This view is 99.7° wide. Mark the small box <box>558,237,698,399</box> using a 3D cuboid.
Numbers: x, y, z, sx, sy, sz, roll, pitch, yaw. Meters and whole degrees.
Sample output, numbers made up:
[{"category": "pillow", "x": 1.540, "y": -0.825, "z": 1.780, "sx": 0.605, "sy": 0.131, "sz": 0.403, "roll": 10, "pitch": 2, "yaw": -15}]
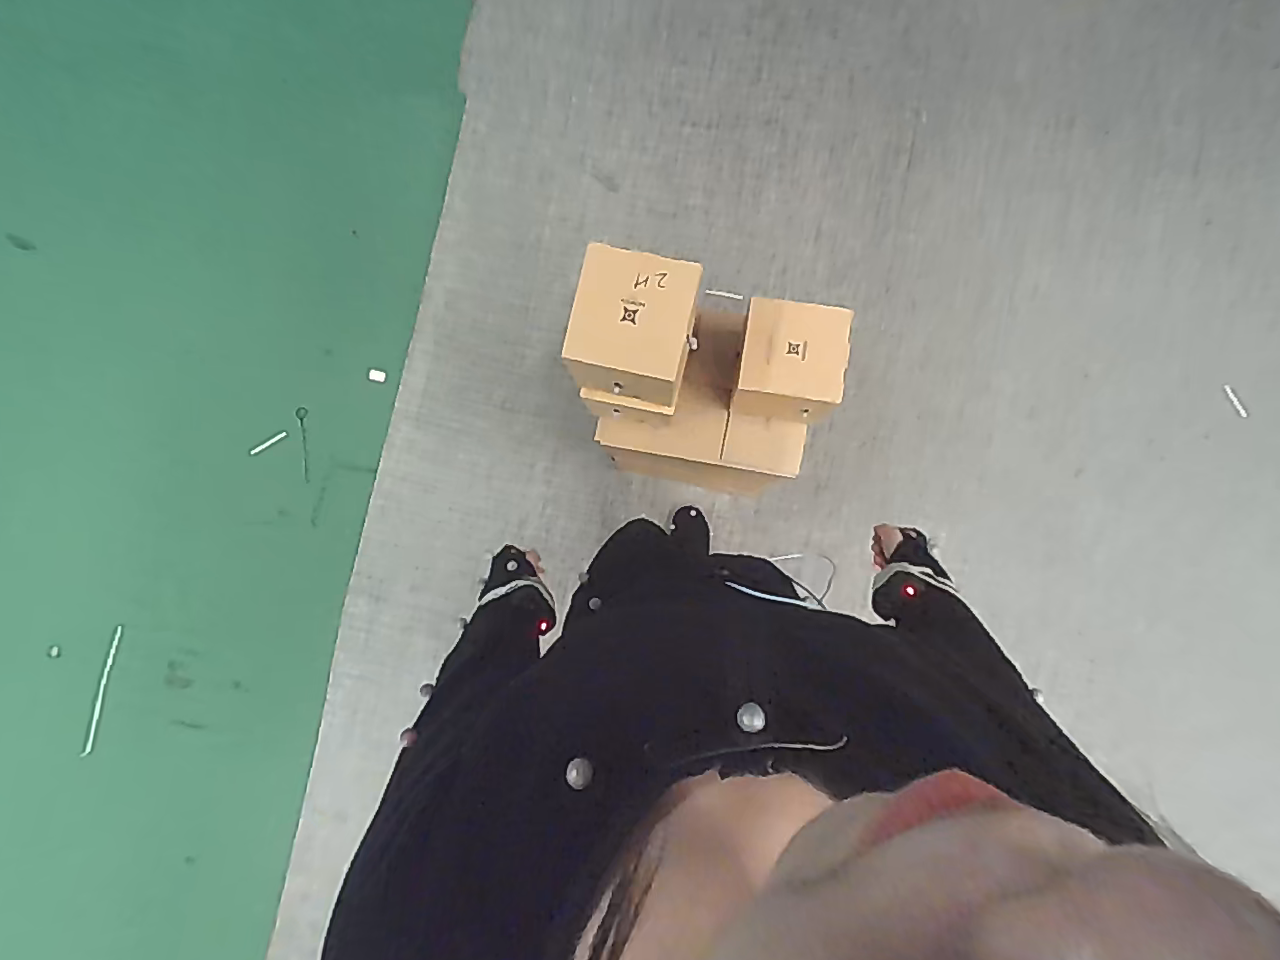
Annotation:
[{"category": "small box", "x": -0.014, "y": -0.236, "z": 0.833, "sx": 0.168, "sy": 0.176, "sz": 0.179, "roll": 14, "pitch": 87, "yaw": 2}]

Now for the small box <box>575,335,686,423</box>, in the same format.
[{"category": "small box", "x": -0.011, "y": -0.212, "z": 0.997, "sx": 0.168, "sy": 0.176, "sz": 0.179, "roll": 12, "pitch": 87, "yaw": 2}]

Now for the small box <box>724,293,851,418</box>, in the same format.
[{"category": "small box", "x": 0.259, "y": -0.216, "z": 0.986, "sx": 0.179, "sy": 0.176, "sz": 0.168, "roll": 10, "pitch": 85, "yaw": 5}]
